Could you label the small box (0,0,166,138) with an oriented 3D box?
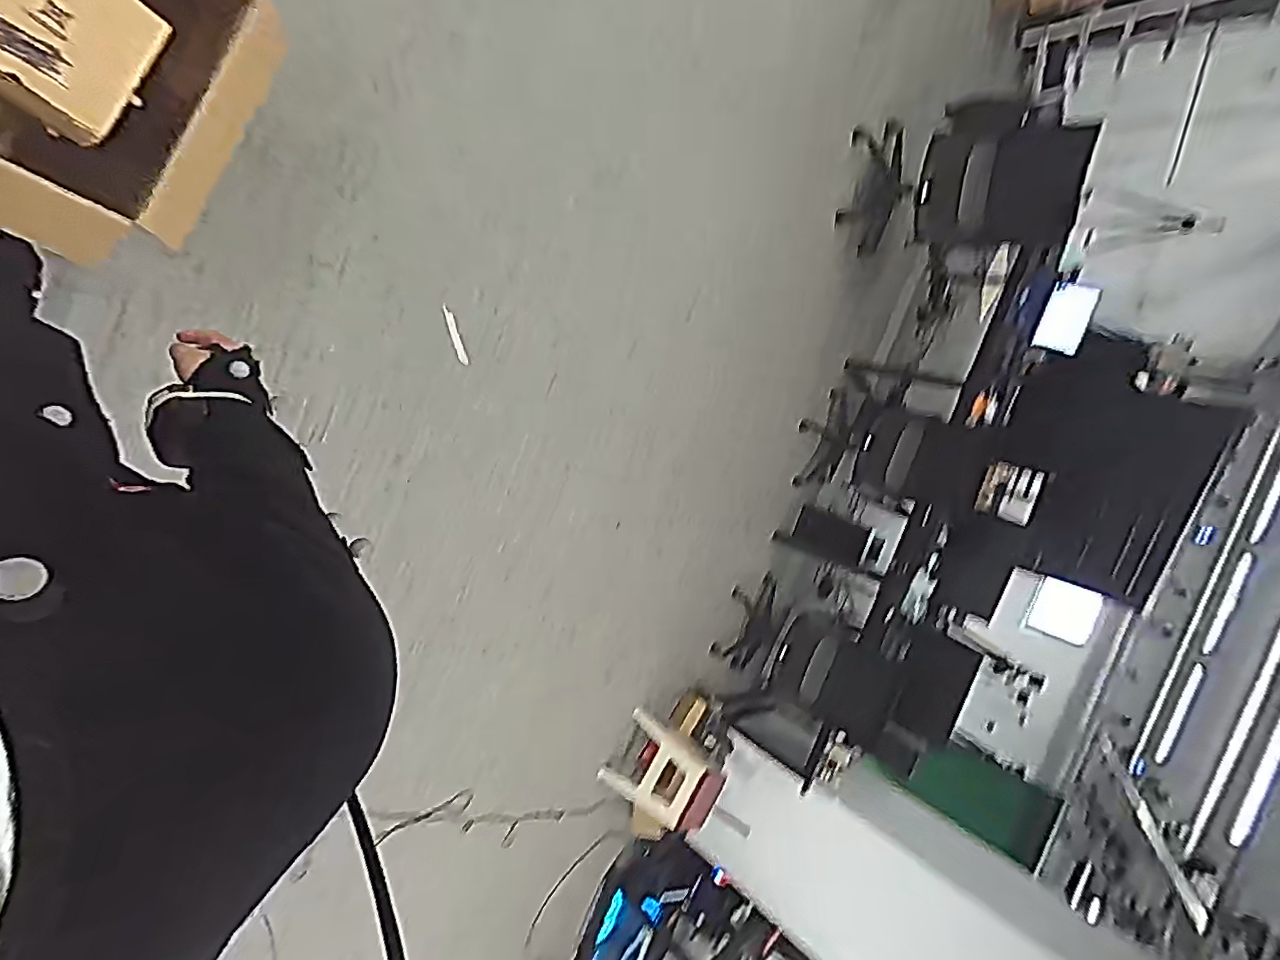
[{"bbox_3d":[-0.751,-0.564,0.676,0.168,0.176,0.179,34,79,-54],"label":"small box"}]
